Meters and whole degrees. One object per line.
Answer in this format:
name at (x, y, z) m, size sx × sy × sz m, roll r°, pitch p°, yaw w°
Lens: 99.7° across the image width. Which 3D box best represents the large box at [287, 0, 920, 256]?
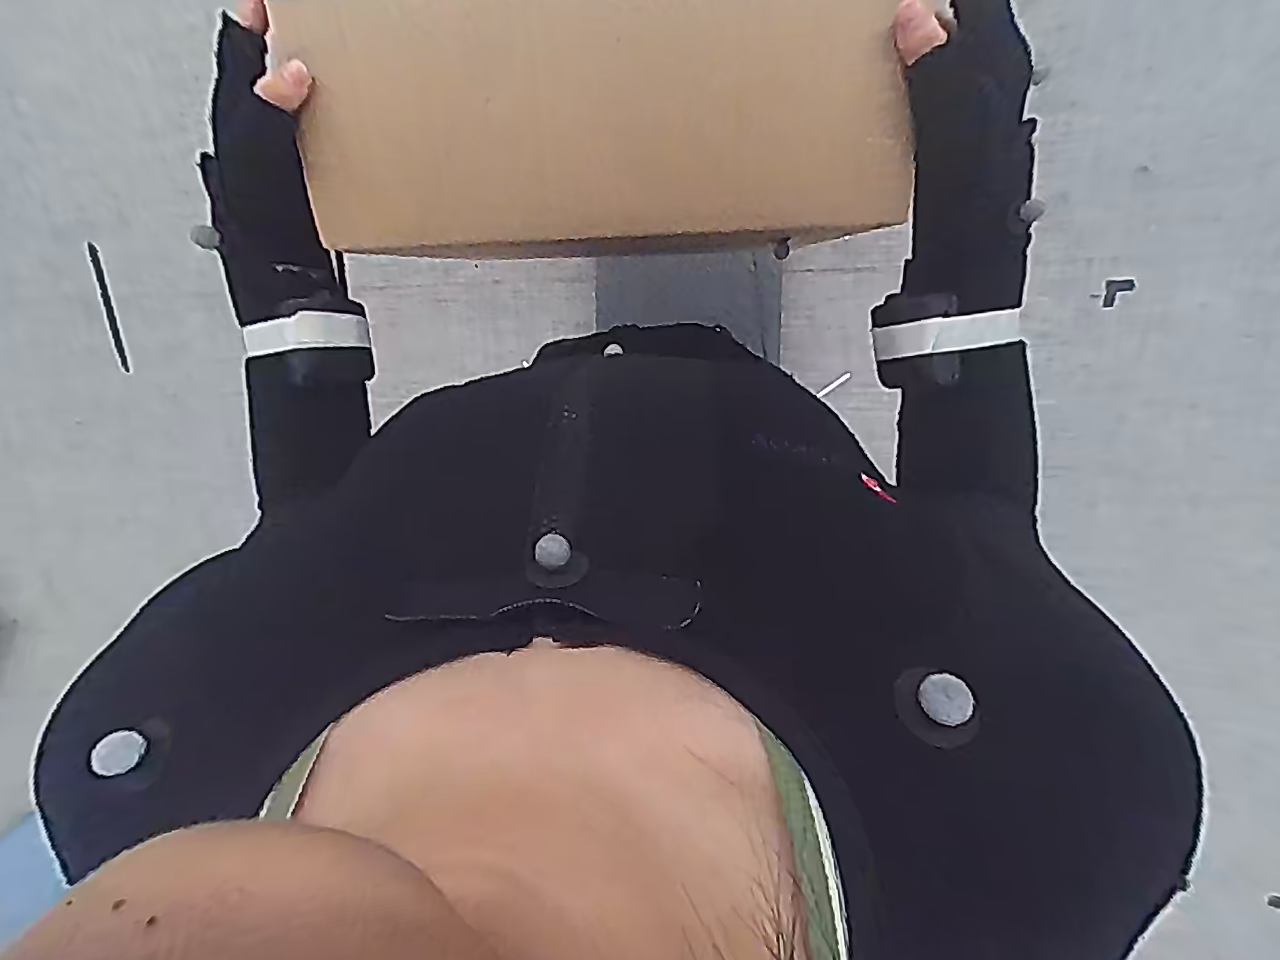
large box at (-0.018, -0.372, 0.468) m, size 0.408 × 0.320 × 0.320 m, roll -1°, pitch 110°, yaw 4°
